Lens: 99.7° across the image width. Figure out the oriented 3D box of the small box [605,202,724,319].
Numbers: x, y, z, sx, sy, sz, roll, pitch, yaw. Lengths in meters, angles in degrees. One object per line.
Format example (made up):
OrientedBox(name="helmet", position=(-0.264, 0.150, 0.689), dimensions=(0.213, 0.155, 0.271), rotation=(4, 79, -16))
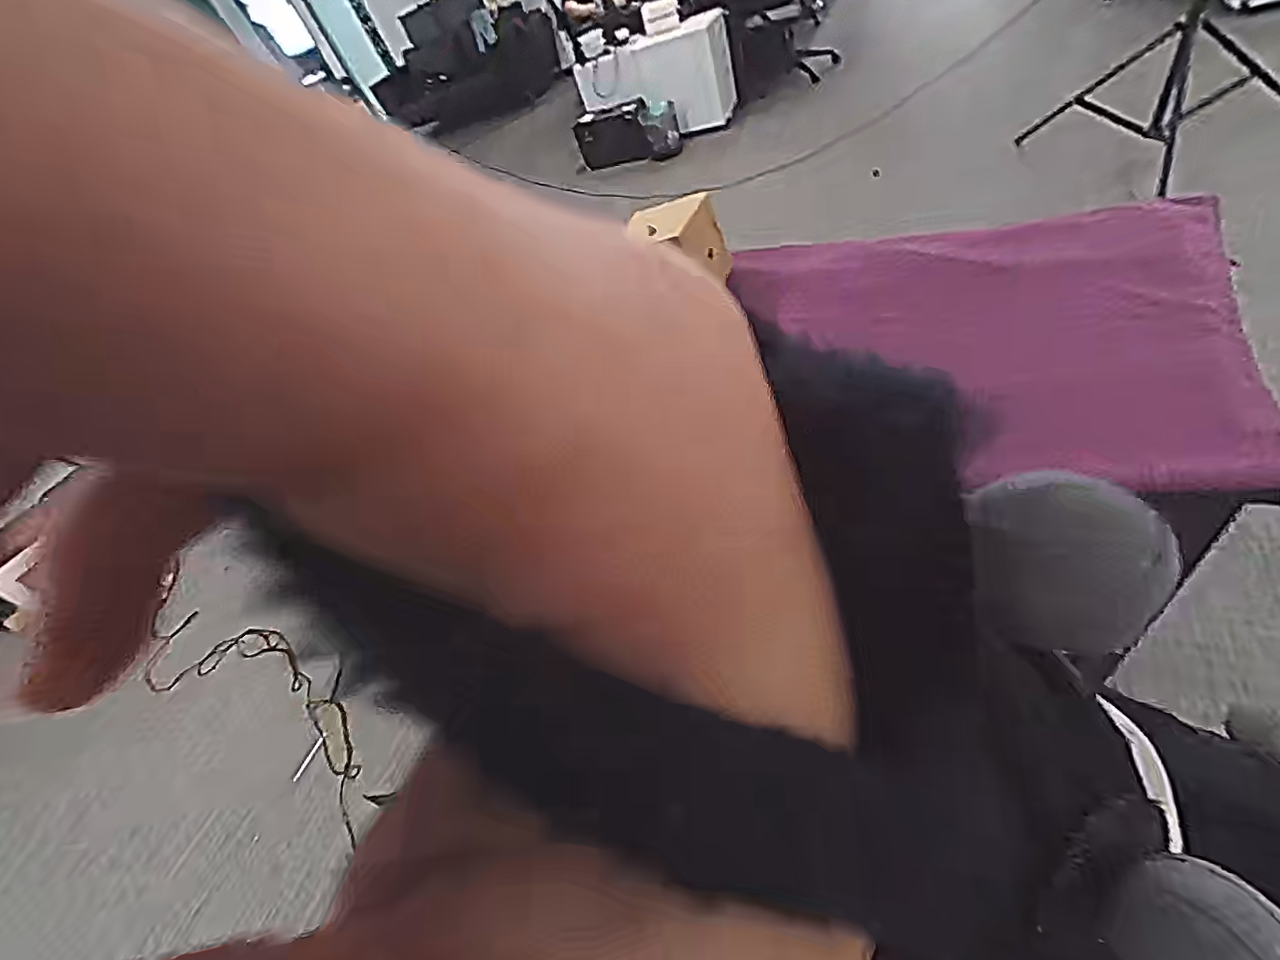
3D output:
OrientedBox(name="small box", position=(0.062, -0.450, 1.130), dimensions=(0.179, 0.168, 0.176), rotation=(3, 50, 35))
